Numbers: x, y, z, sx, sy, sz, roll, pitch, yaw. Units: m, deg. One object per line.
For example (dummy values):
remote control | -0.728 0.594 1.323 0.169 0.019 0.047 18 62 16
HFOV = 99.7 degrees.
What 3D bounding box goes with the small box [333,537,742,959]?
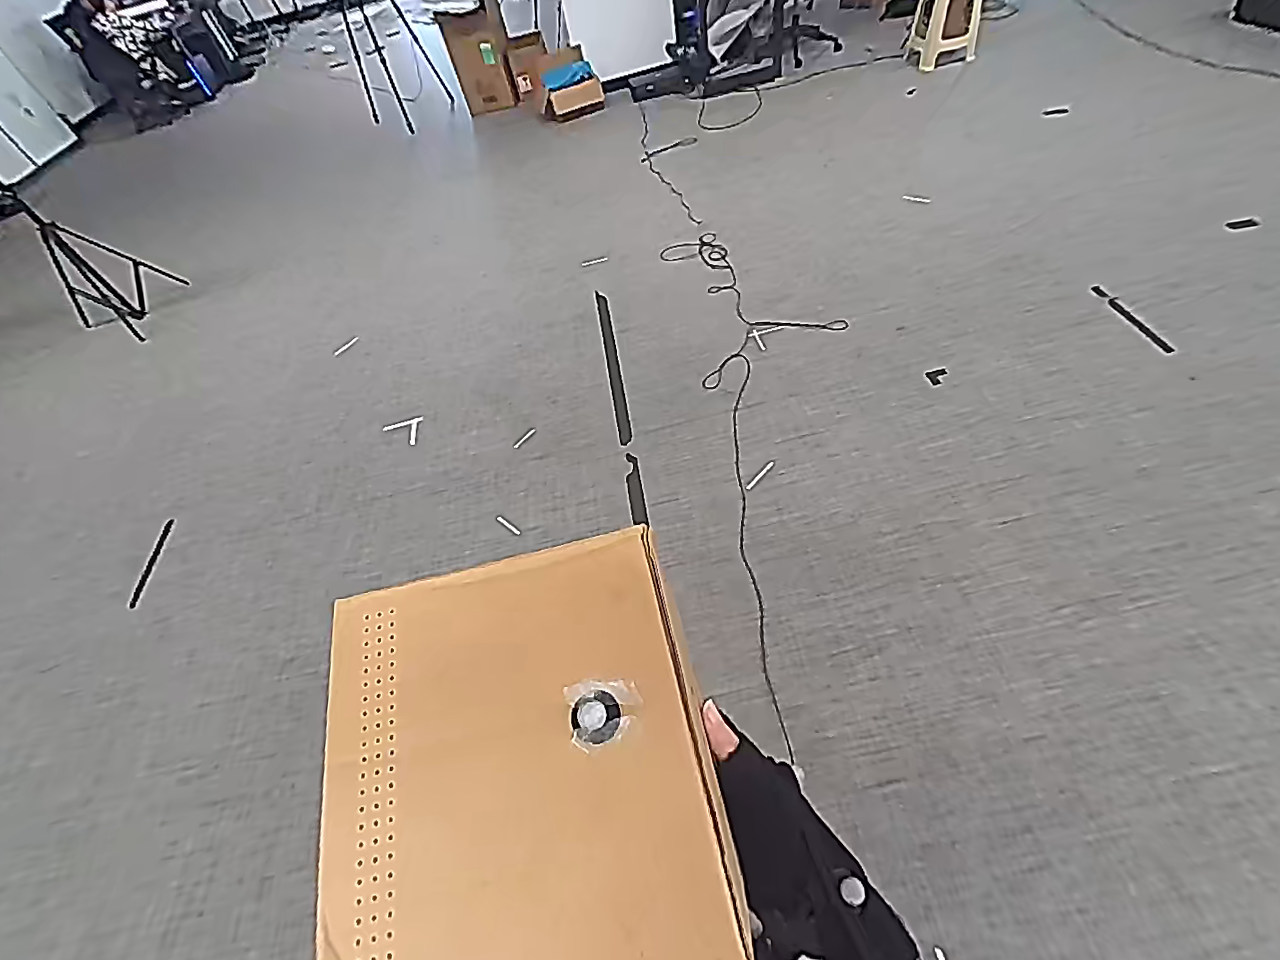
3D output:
small box | -0.049 0.159 0.314 0.176 0.168 0.179 -14 62 2
